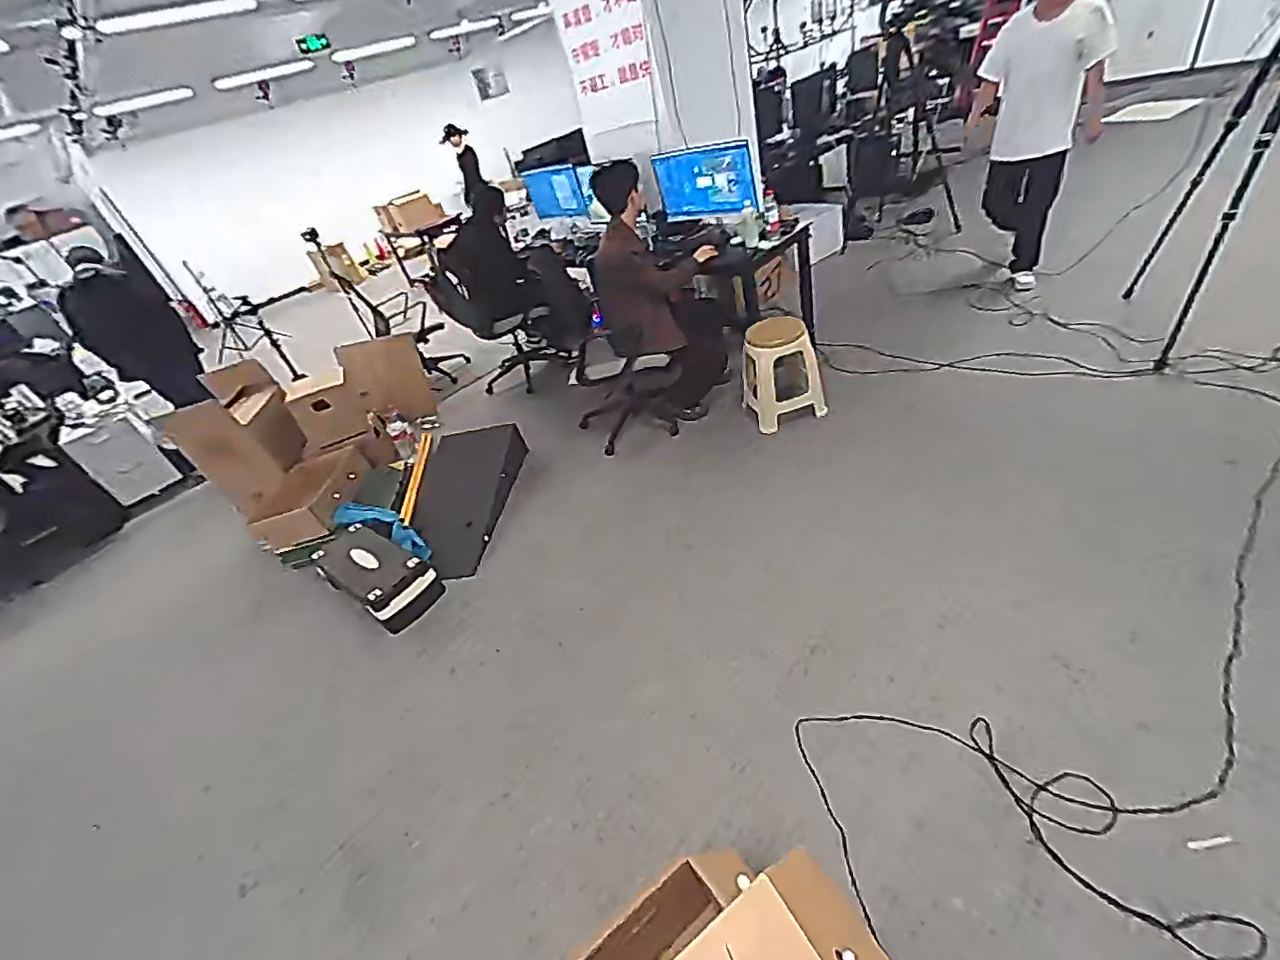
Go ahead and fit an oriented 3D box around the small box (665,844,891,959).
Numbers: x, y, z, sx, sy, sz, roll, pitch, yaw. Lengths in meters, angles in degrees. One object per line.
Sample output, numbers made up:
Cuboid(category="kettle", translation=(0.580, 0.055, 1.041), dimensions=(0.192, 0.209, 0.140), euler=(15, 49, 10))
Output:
Cuboid(category="small box", translation=(0.167, 0.549, 0.602), dimensions=(0.168, 0.176, 0.179), euler=(-46, 53, 6))
